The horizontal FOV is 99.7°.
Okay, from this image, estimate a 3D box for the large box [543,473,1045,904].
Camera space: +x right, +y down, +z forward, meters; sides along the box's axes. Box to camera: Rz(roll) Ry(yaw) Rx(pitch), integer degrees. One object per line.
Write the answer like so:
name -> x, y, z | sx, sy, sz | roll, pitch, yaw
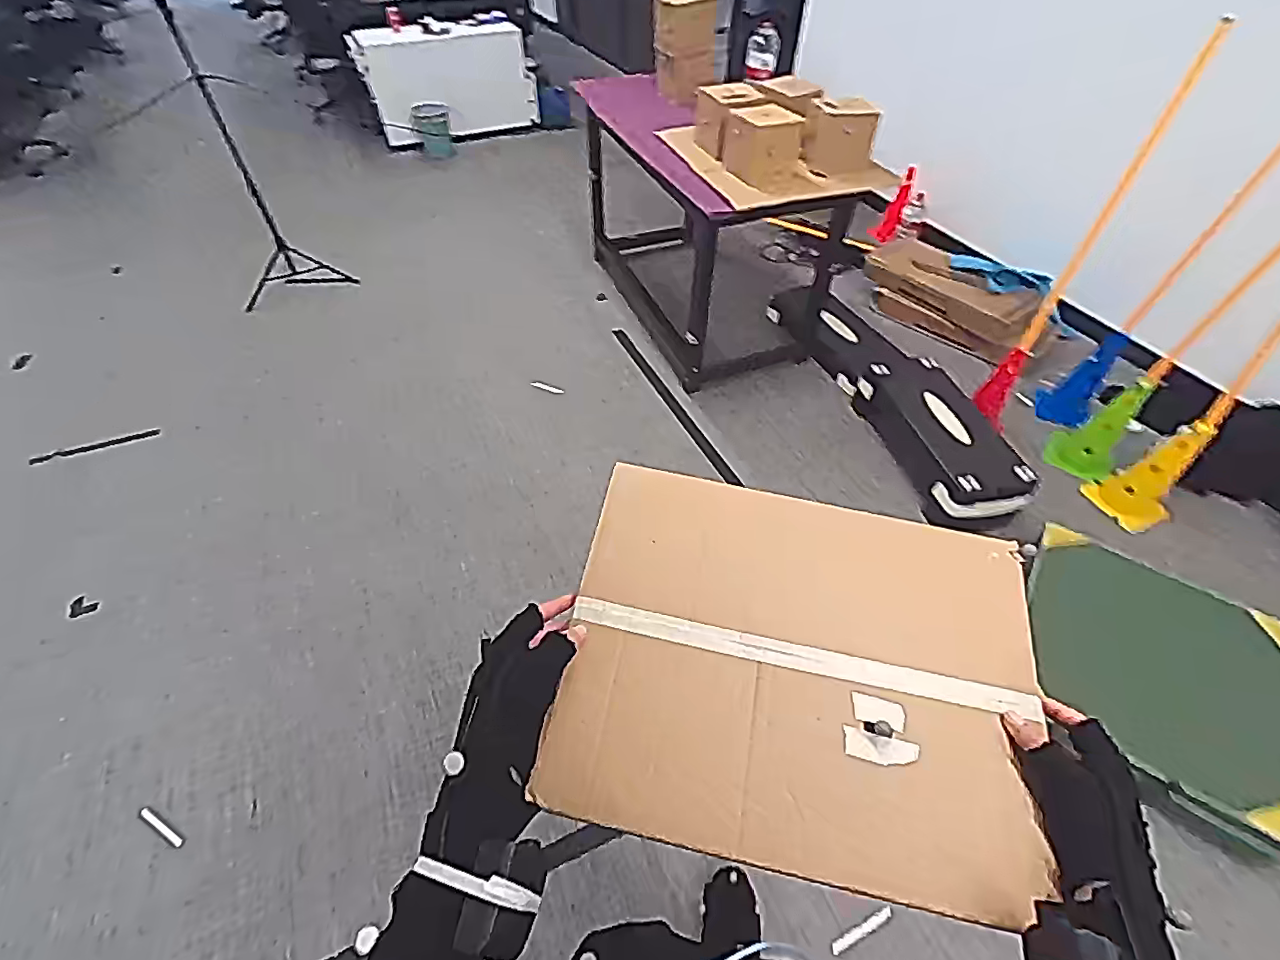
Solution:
large box -> 0.136, 0.227, 0.621 | 0.408, 0.320, 0.320 | 11, 63, 4
